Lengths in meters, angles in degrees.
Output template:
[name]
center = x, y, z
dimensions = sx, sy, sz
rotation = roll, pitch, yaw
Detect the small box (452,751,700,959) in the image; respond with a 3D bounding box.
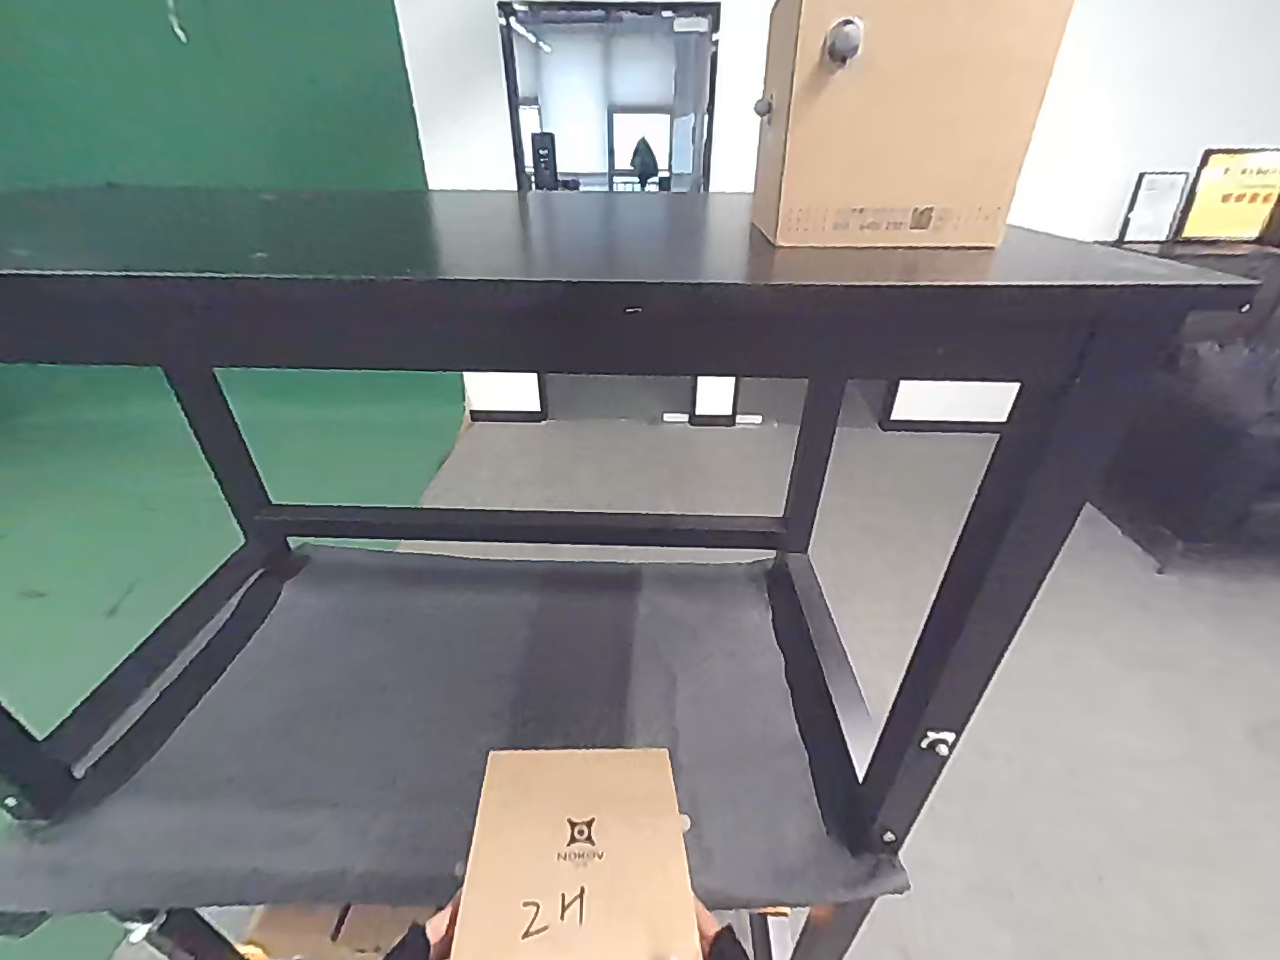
[small box]
center = -0.054, 0.361, 0.455
dimensions = 0.168, 0.176, 0.179
rotation = 3, 22, -6
